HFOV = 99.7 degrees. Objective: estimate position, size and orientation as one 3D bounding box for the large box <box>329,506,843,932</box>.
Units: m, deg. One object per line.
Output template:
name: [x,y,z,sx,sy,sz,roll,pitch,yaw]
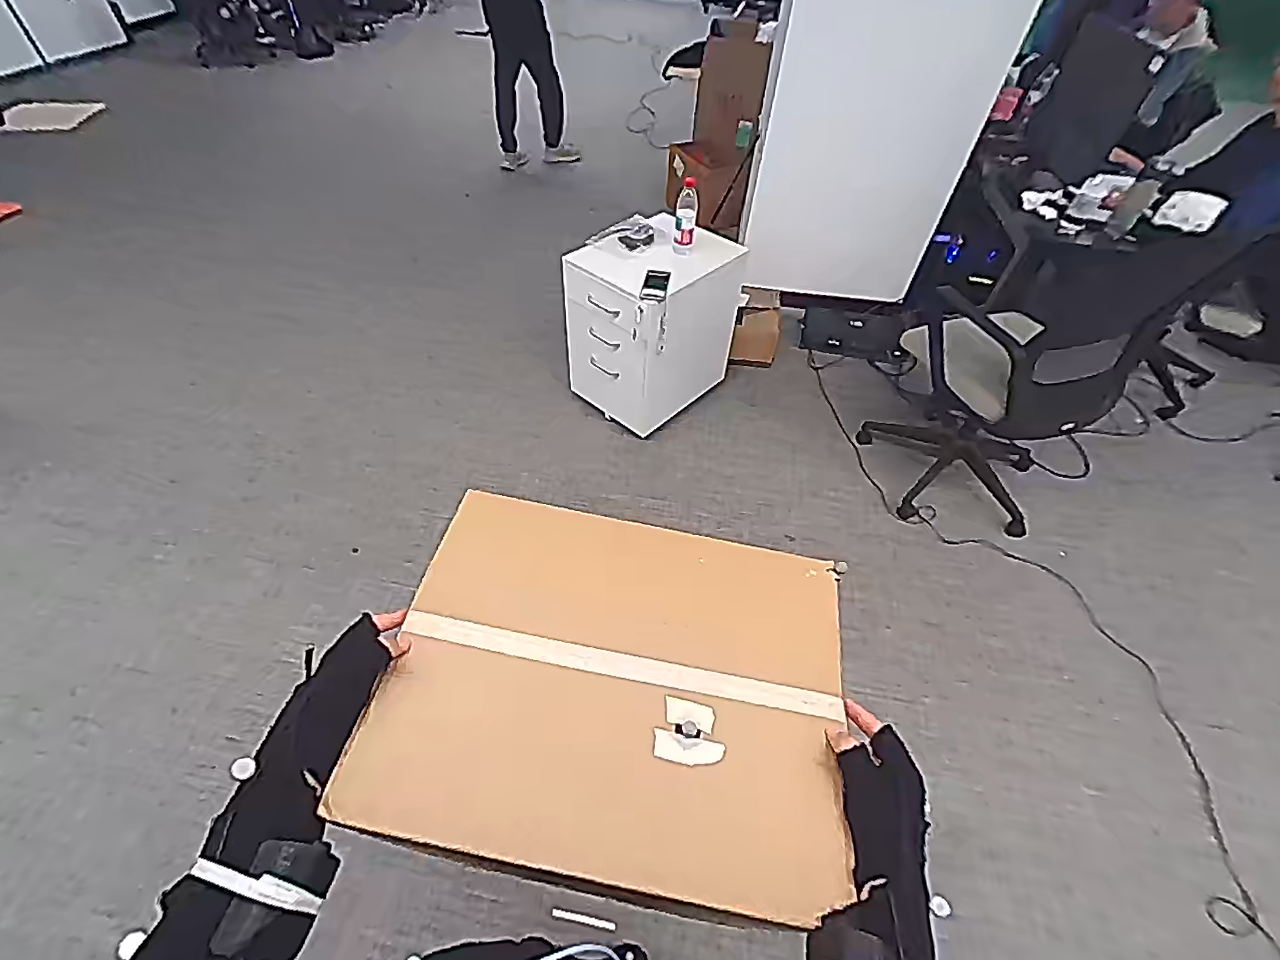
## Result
large box: [-0.037,0.272,0.611,0.408,0.320,0.320,12,52,1]
